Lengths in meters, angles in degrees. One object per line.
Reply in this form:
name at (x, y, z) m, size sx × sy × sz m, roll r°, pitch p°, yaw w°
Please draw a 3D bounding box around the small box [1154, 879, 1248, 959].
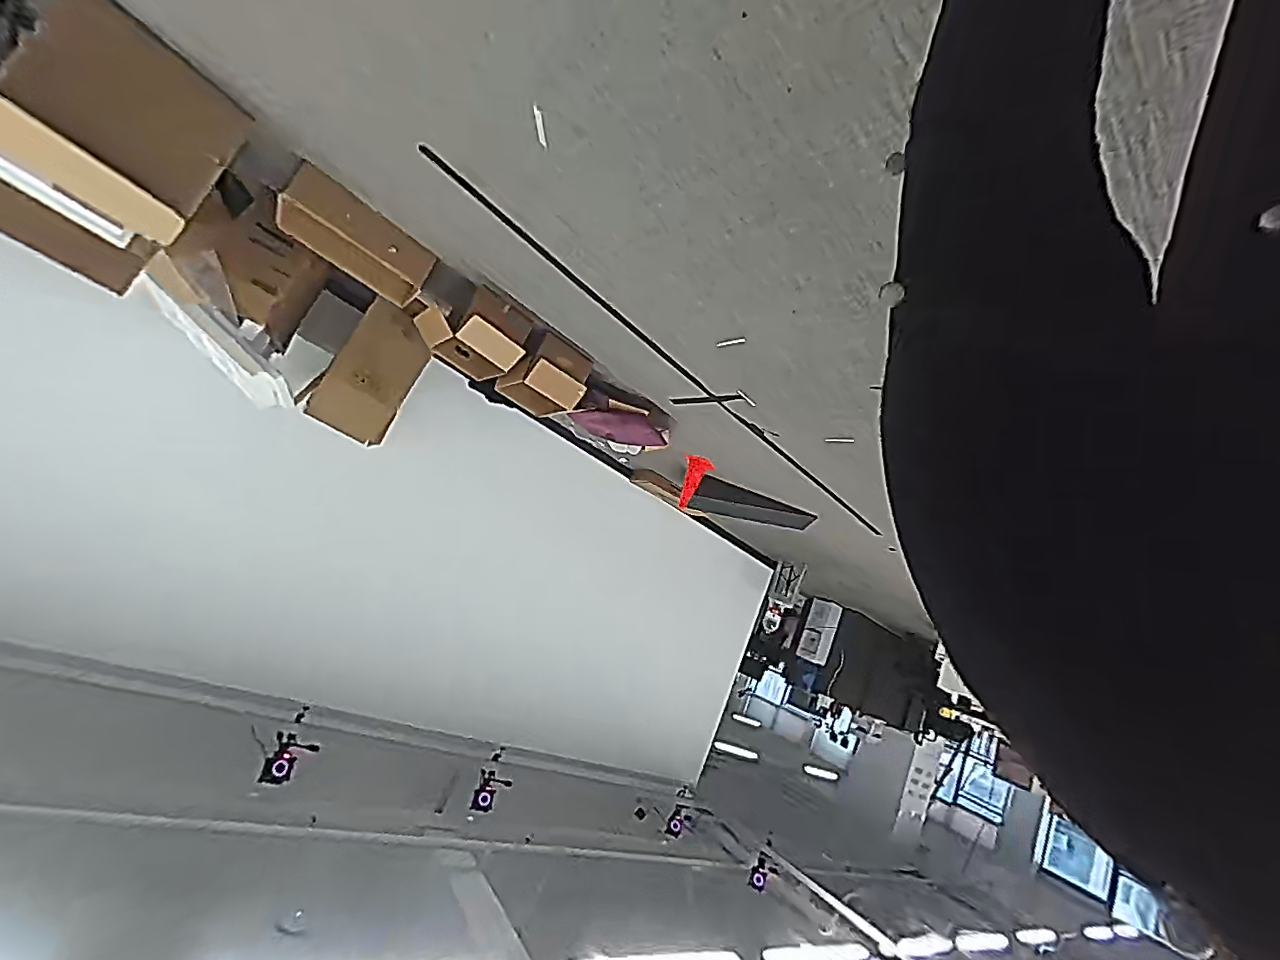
small box at (1.719, 1.358, 1.653) m, size 0.179 × 0.176 × 0.168 m, roll 29°, pitch 166°, yaw -31°
